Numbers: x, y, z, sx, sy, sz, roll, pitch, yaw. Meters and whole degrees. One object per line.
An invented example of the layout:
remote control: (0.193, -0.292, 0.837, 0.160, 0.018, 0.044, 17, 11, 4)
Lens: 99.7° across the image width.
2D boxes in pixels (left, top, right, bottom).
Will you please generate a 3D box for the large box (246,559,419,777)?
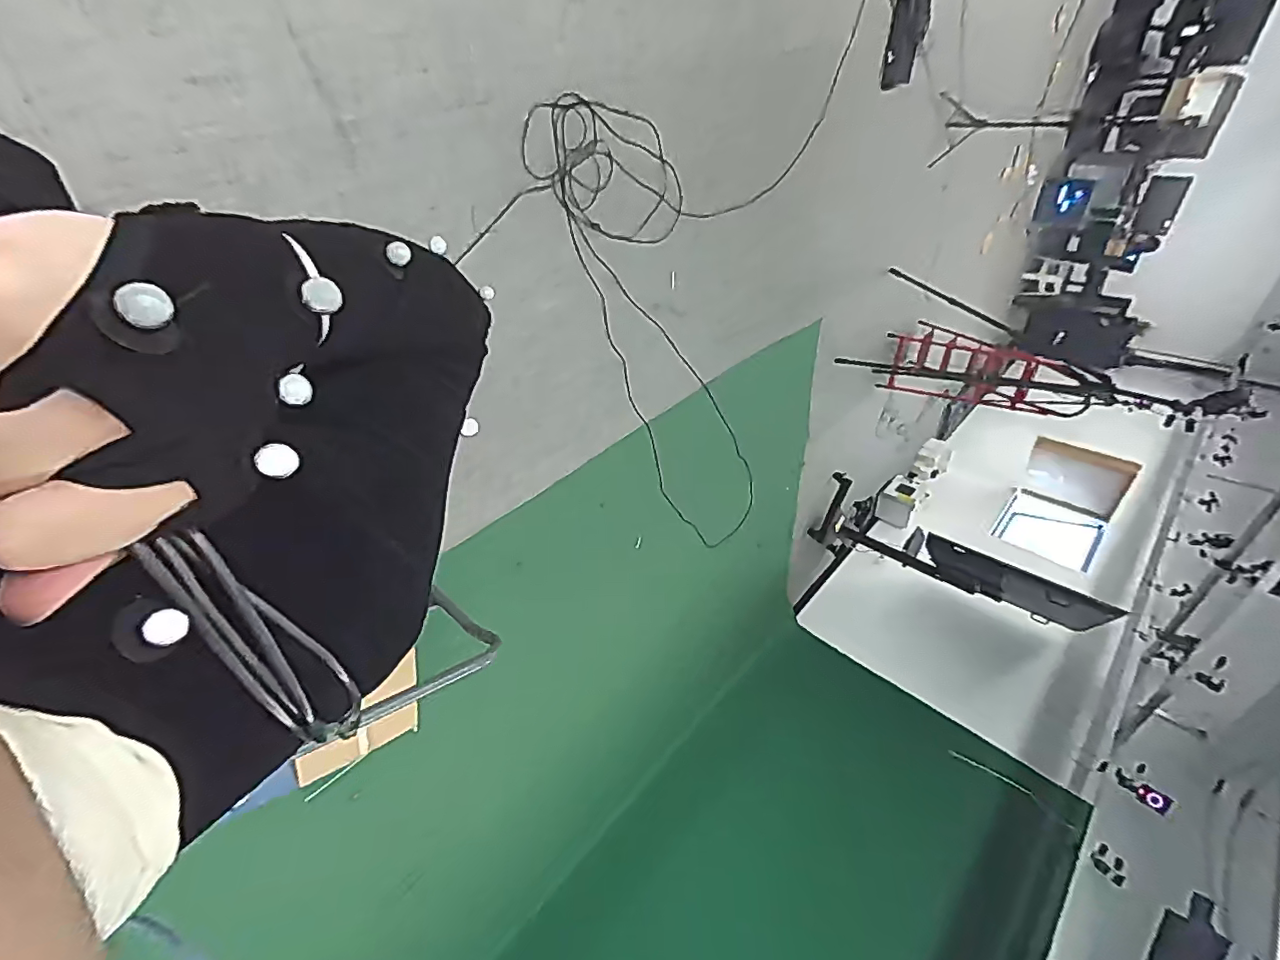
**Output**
large box: (-0.833, 0.494, 1.488, 0.320, 0.320, 0.408, -16, 124, -44)
